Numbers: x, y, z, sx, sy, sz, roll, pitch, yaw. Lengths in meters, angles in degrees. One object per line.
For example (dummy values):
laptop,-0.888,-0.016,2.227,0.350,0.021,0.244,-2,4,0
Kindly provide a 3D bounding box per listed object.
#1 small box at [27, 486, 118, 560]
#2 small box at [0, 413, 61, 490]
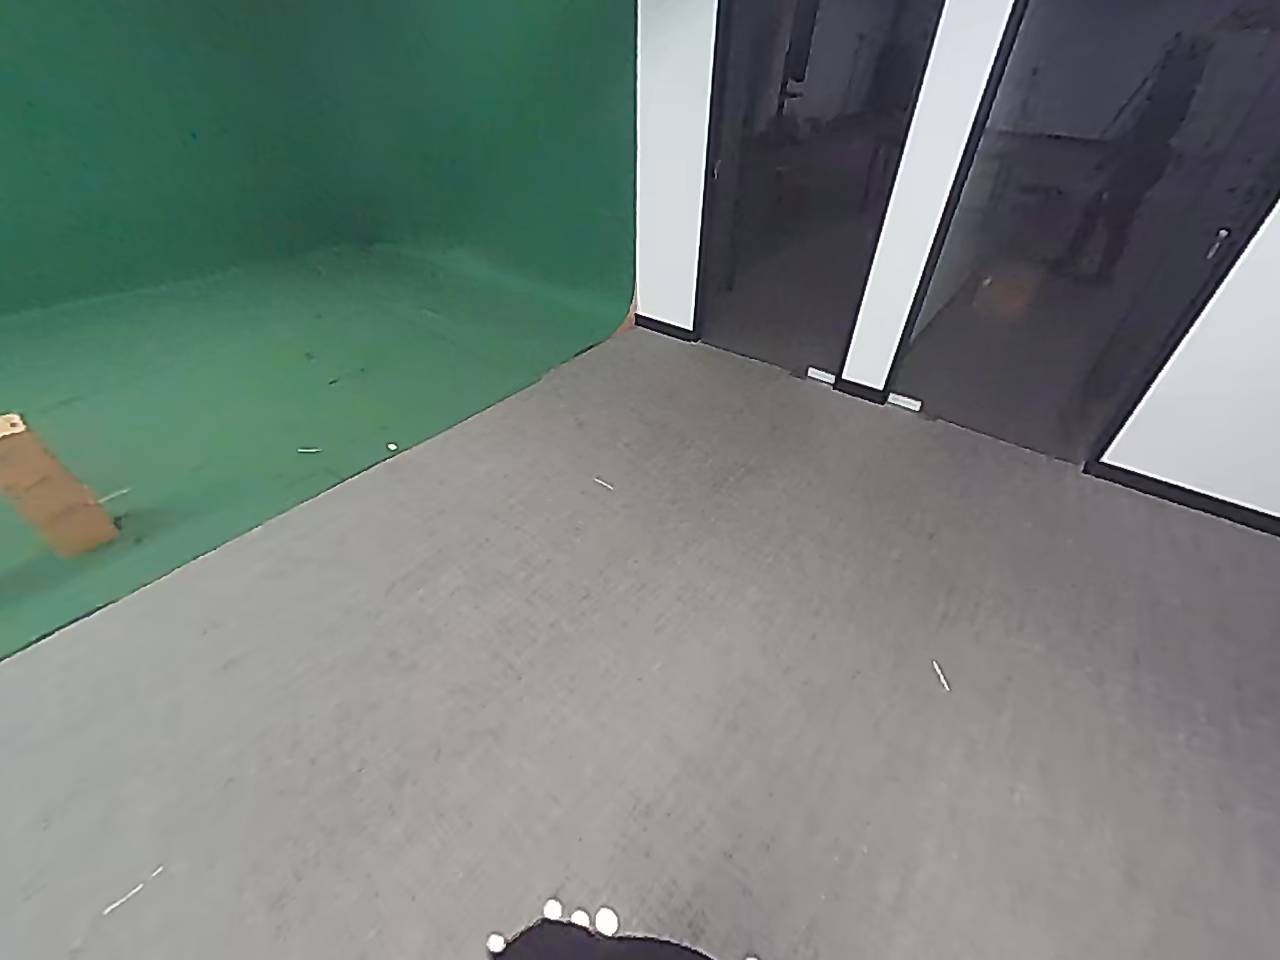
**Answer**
small box,-2.094,0.159,2.006,0.168,0.176,0.179,31,48,30
small box,-2.097,-0.090,1.792,0.168,0.176,0.179,29,48,30
